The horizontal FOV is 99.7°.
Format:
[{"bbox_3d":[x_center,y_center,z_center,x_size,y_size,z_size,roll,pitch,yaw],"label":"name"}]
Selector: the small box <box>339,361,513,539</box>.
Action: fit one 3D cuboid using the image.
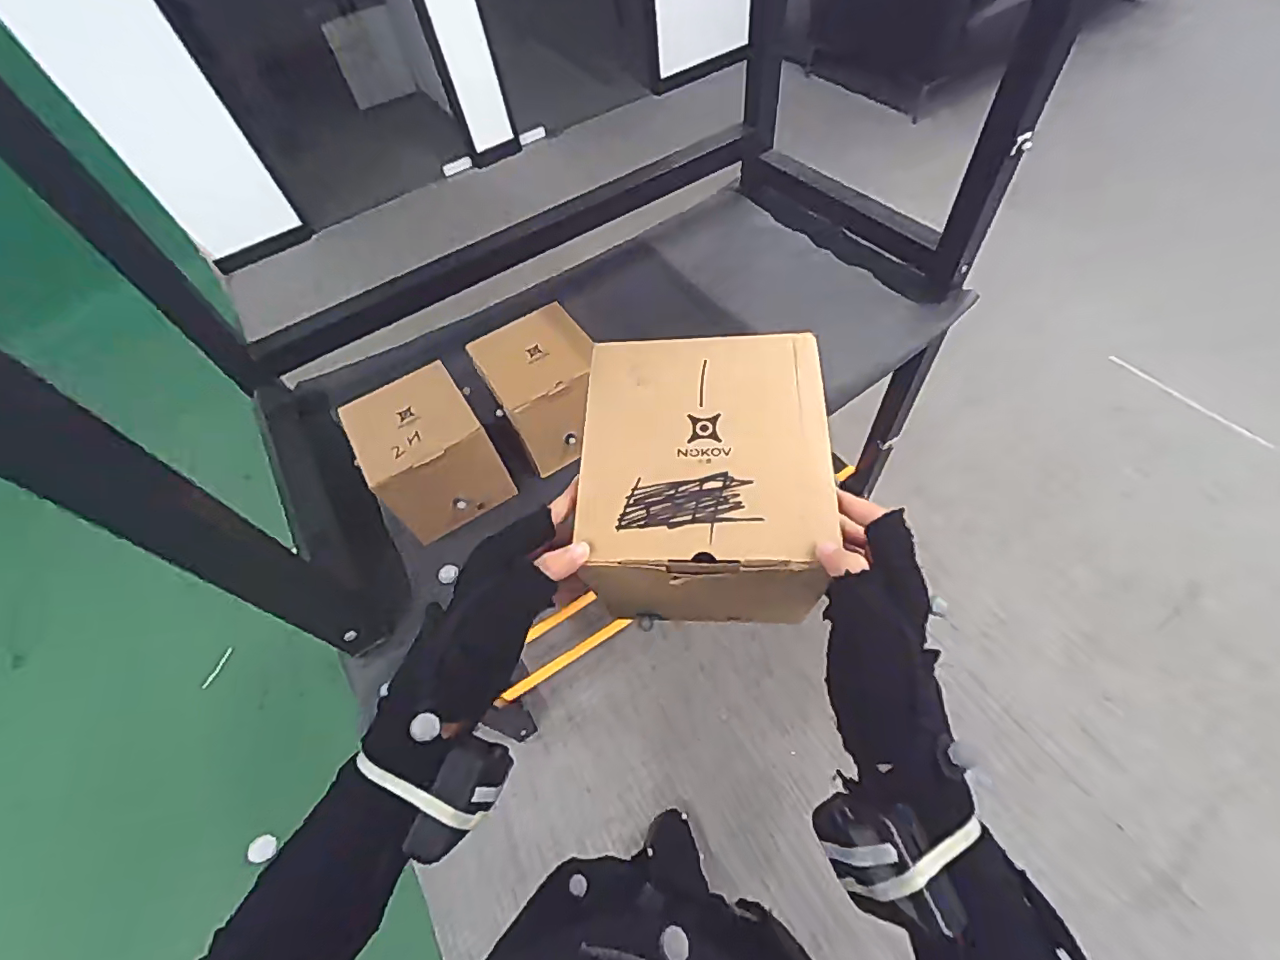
[{"bbox_3d":[-0.321,-0.042,0.831,0.168,0.176,0.179,-31,57,-13],"label":"small box"}]
